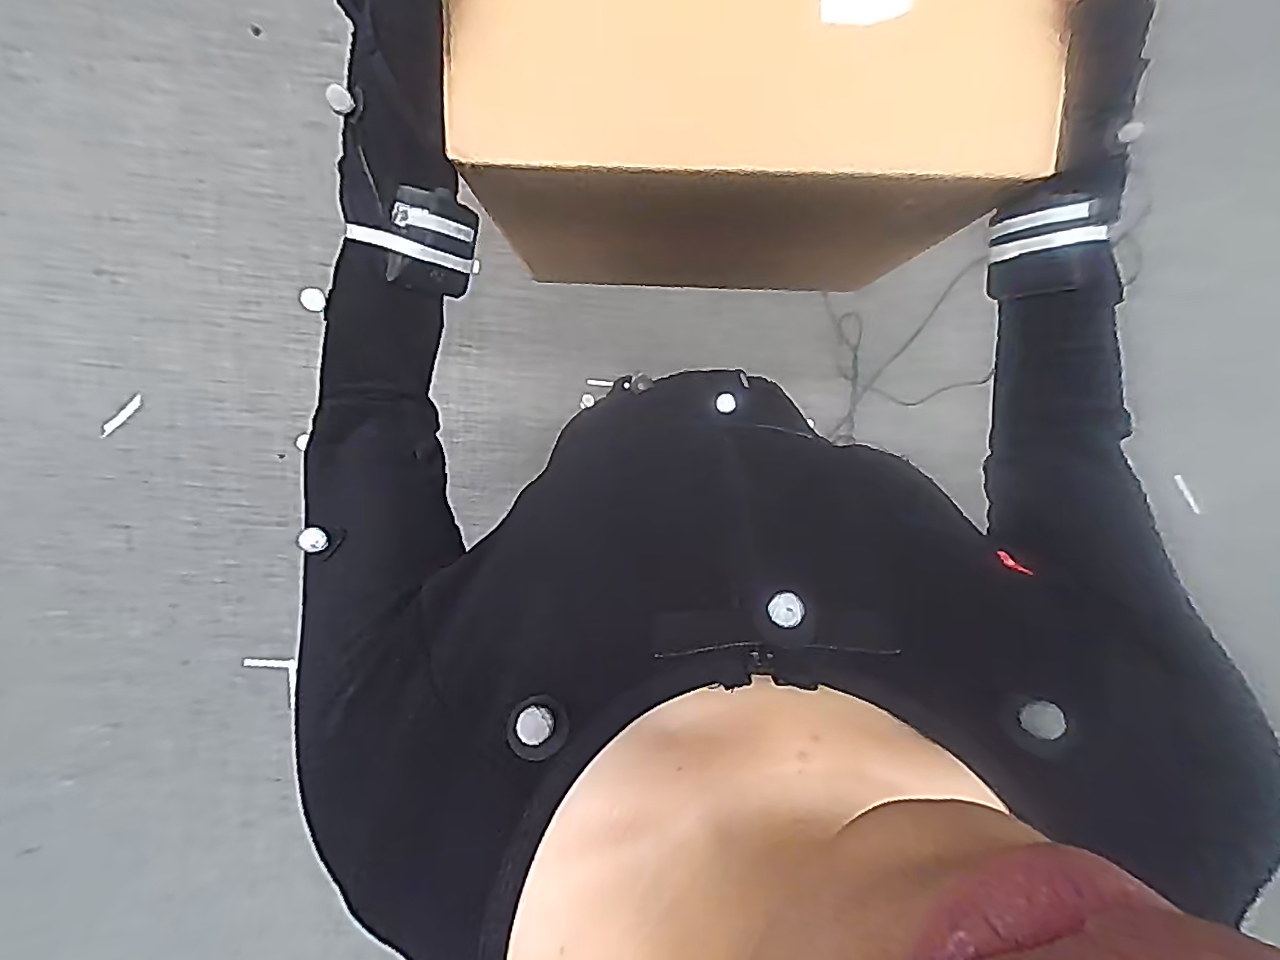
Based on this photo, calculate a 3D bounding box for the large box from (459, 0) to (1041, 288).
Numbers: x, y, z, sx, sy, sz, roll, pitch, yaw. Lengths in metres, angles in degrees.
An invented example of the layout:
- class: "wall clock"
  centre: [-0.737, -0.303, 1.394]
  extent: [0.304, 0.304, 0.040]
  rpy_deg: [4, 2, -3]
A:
- class: "large box"
  centre: [0.071, -0.379, 0.512]
  extent: [0.408, 0.320, 0.320]
  rpy_deg: [1, 95, -1]
